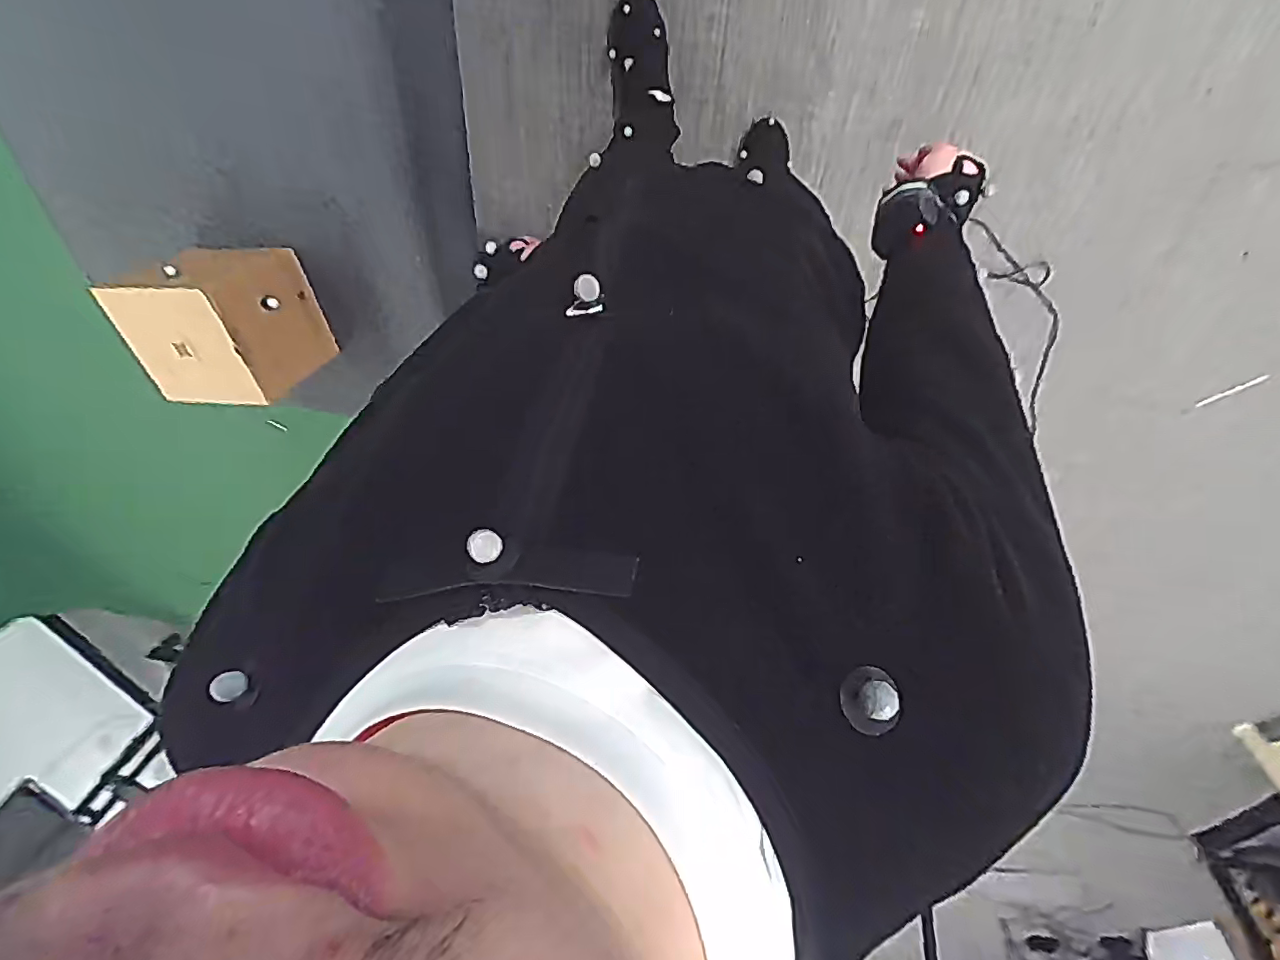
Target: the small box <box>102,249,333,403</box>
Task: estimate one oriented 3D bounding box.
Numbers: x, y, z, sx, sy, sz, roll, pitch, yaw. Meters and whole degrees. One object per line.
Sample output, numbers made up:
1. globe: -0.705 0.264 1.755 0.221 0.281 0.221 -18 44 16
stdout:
1. small box: -0.584 -0.226 0.783 0.179 0.176 0.168 4 129 11
